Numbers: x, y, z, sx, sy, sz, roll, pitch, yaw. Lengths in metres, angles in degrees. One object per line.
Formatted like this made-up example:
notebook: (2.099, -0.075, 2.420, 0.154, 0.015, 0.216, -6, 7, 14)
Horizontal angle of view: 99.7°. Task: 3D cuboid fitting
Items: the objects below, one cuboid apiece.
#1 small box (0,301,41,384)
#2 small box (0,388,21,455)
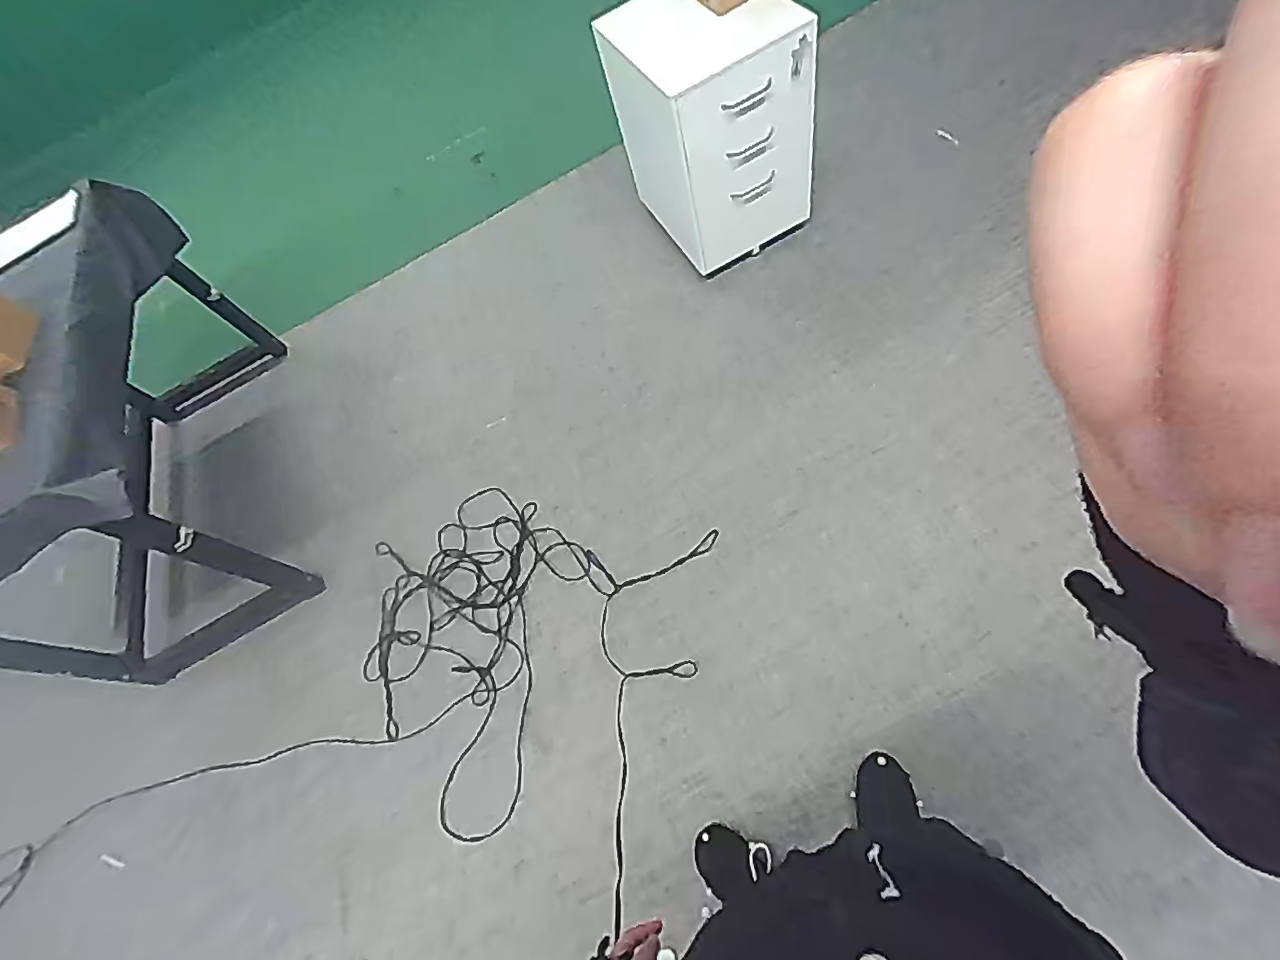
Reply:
small box: (-1.476, -0.309, 1.175, 0.168, 0.176, 0.179, -27, 59, 2)
small box: (-1.371, -0.112, 1.043, 0.179, 0.176, 0.168, -35, 58, -2)
